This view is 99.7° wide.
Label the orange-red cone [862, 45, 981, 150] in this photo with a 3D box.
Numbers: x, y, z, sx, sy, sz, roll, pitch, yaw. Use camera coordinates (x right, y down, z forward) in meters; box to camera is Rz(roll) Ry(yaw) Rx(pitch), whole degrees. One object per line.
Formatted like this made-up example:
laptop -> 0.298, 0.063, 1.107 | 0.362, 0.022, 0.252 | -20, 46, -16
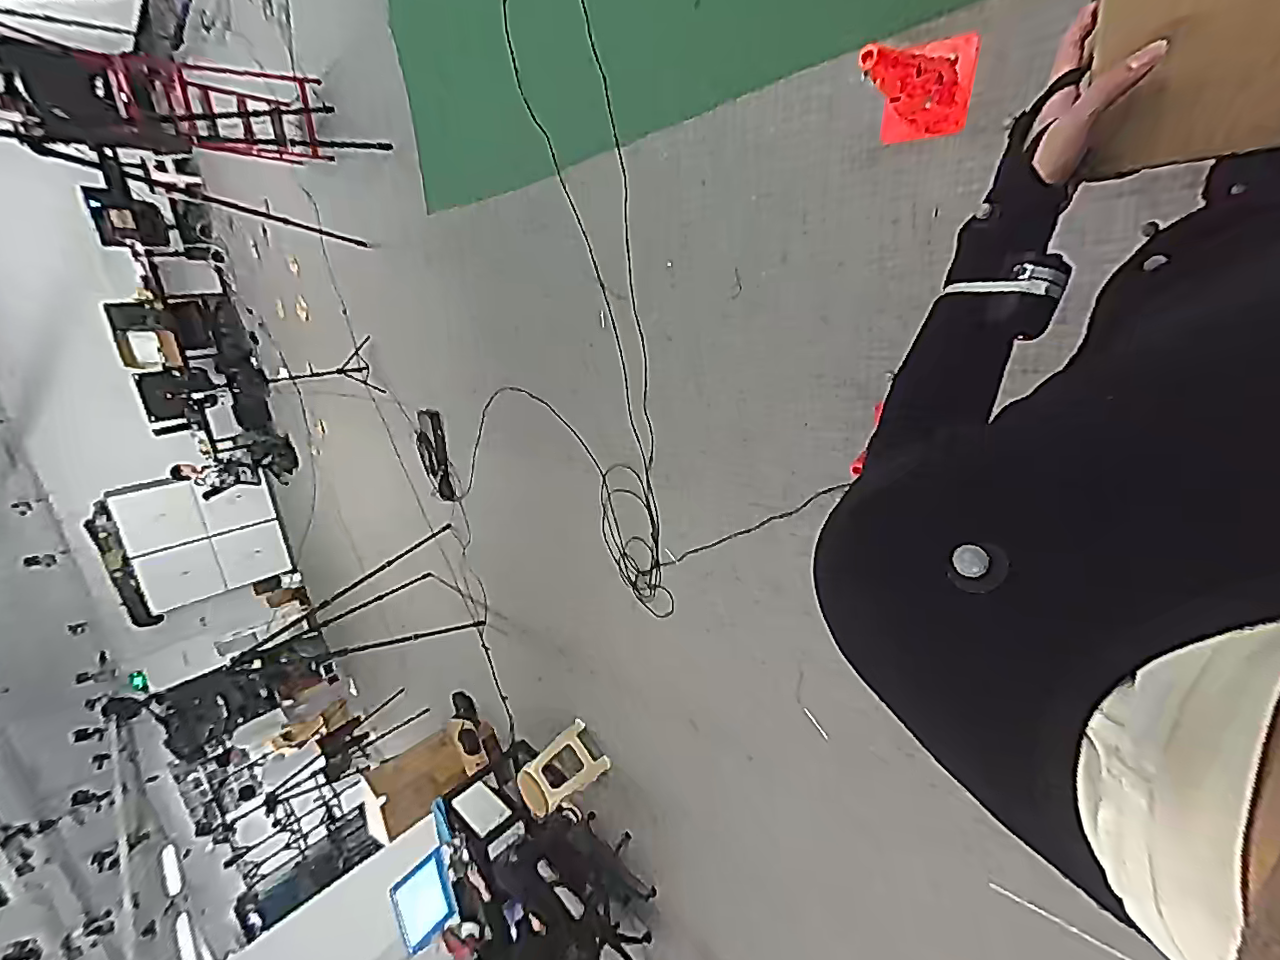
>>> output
orange-red cone -> 0.592, -0.892, 1.221 | 0.199, 0.360, 0.198 | 21, 119, 41
